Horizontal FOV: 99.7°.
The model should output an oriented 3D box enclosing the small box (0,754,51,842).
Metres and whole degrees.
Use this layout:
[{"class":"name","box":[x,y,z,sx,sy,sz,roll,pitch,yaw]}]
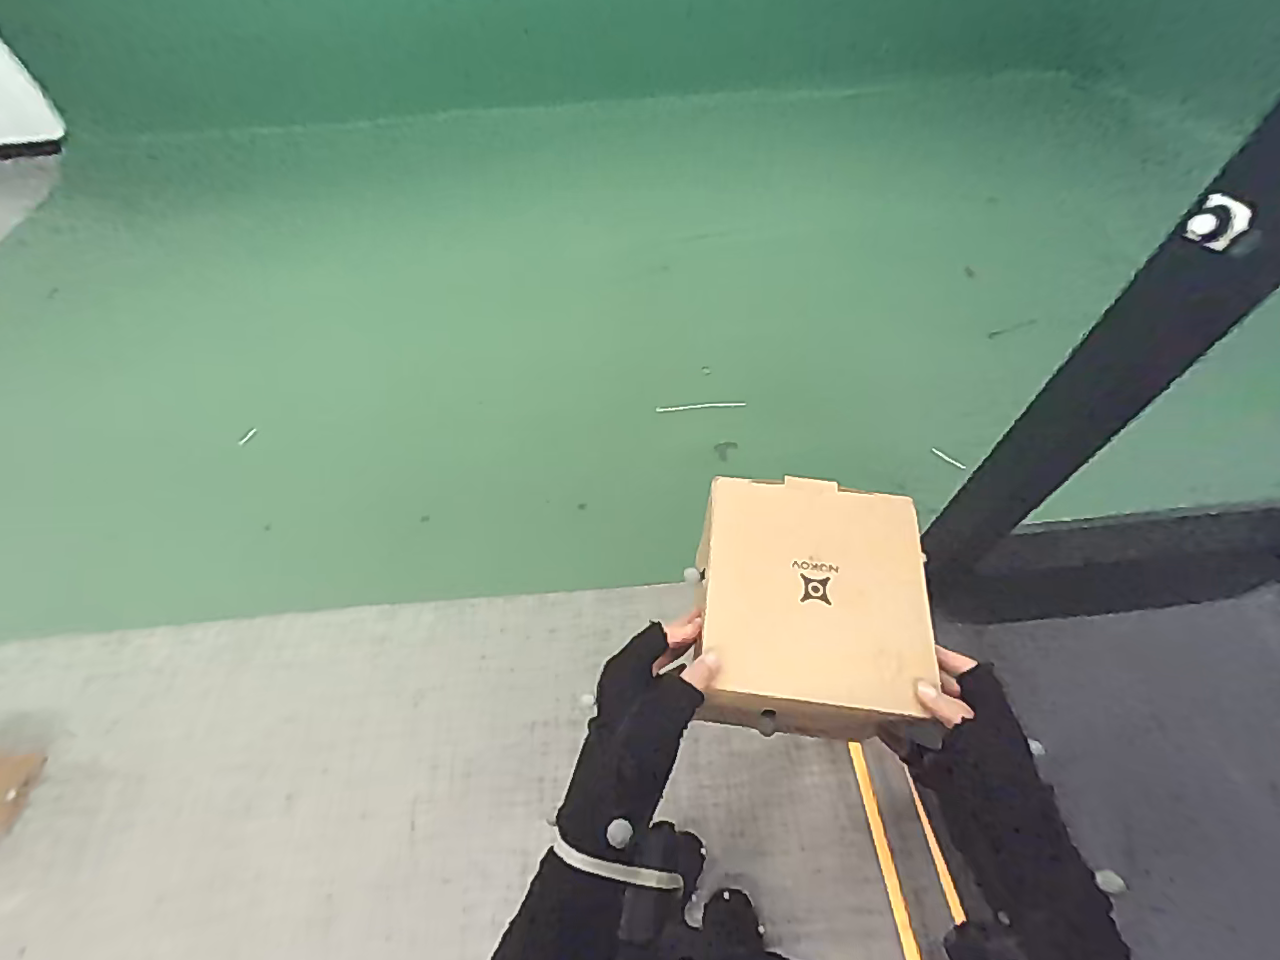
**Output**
[{"class":"small box","box":[-1.552,0.737,1.241,0.179,0.176,0.168,-4,54,-1]}]
